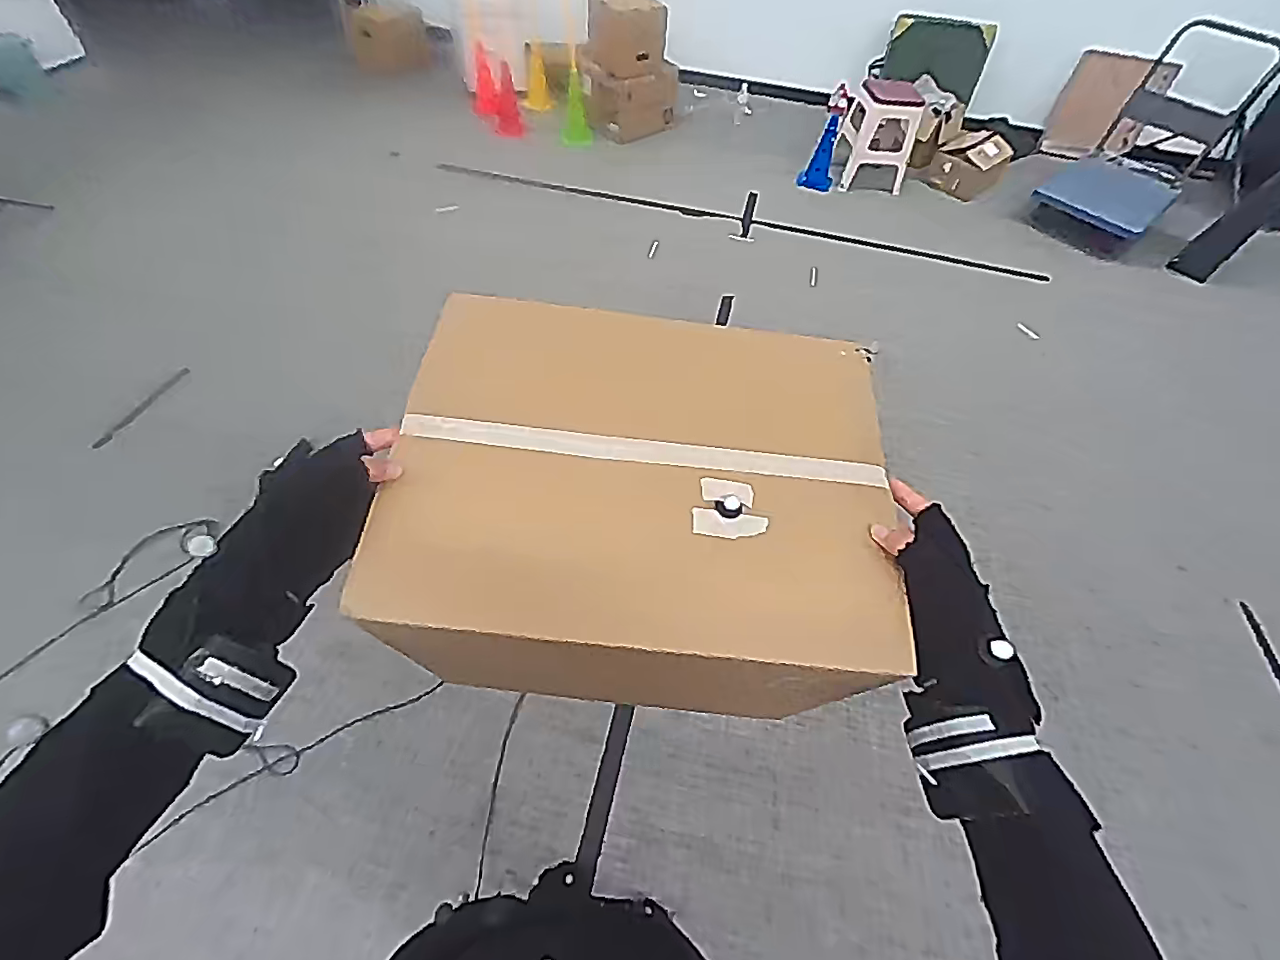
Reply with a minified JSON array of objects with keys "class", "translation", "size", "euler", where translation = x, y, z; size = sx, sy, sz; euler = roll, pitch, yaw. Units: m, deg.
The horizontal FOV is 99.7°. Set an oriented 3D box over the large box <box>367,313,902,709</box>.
[{"class":"large box","translation":[-0.005,0.057,0.594],"size":[0.408,0.320,0.320],"euler":[6,61,-2]}]
